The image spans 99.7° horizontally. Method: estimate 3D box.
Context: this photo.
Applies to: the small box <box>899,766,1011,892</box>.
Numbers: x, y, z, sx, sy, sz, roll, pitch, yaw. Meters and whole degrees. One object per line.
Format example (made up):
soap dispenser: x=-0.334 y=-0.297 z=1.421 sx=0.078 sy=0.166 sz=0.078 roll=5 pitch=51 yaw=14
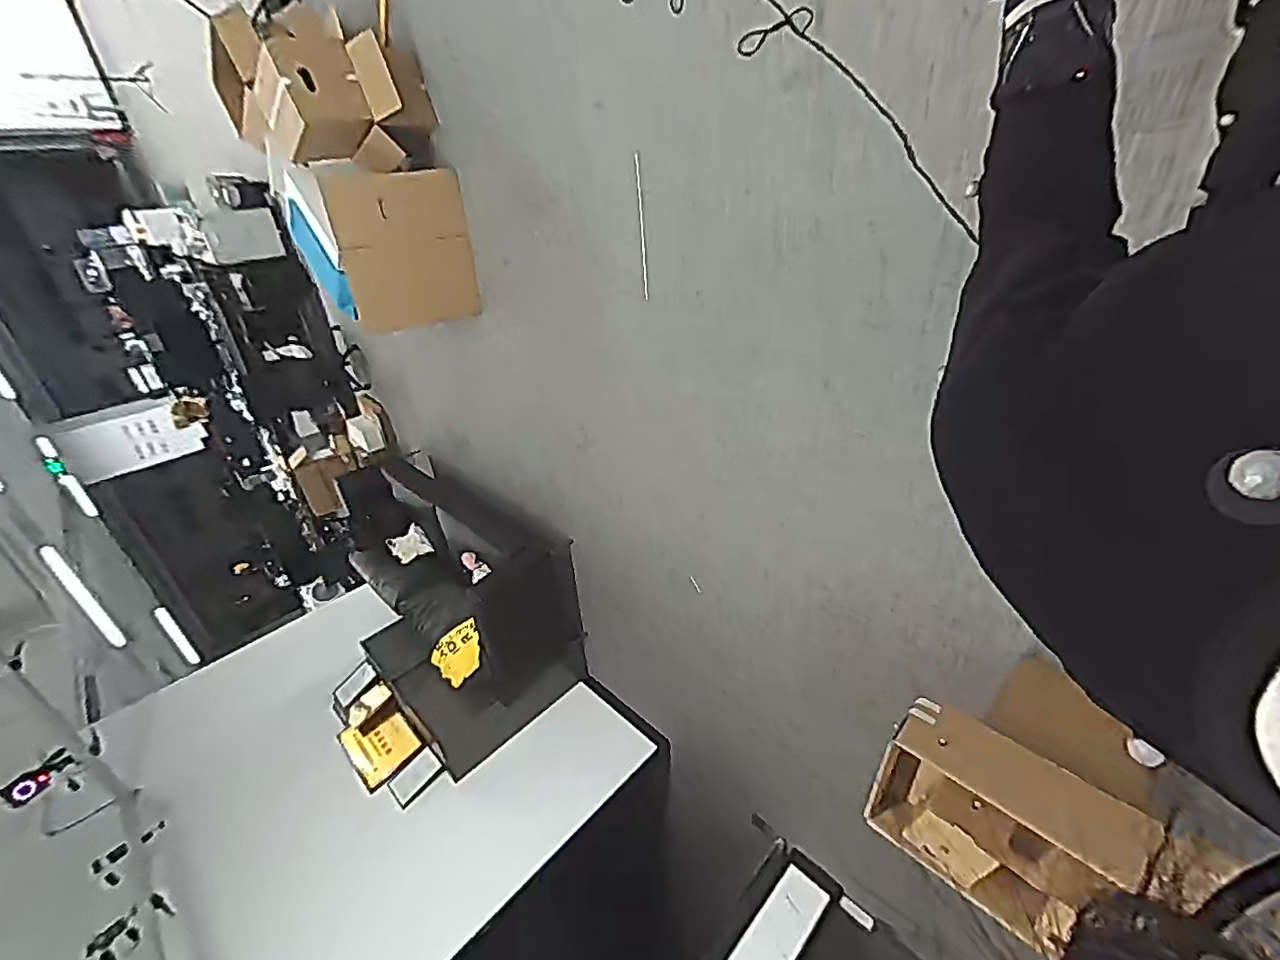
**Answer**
small box: x=0.779 y=0.853 z=1.334 sx=0.168 sy=0.176 sz=0.179 roll=34 pitch=135 yaw=30
